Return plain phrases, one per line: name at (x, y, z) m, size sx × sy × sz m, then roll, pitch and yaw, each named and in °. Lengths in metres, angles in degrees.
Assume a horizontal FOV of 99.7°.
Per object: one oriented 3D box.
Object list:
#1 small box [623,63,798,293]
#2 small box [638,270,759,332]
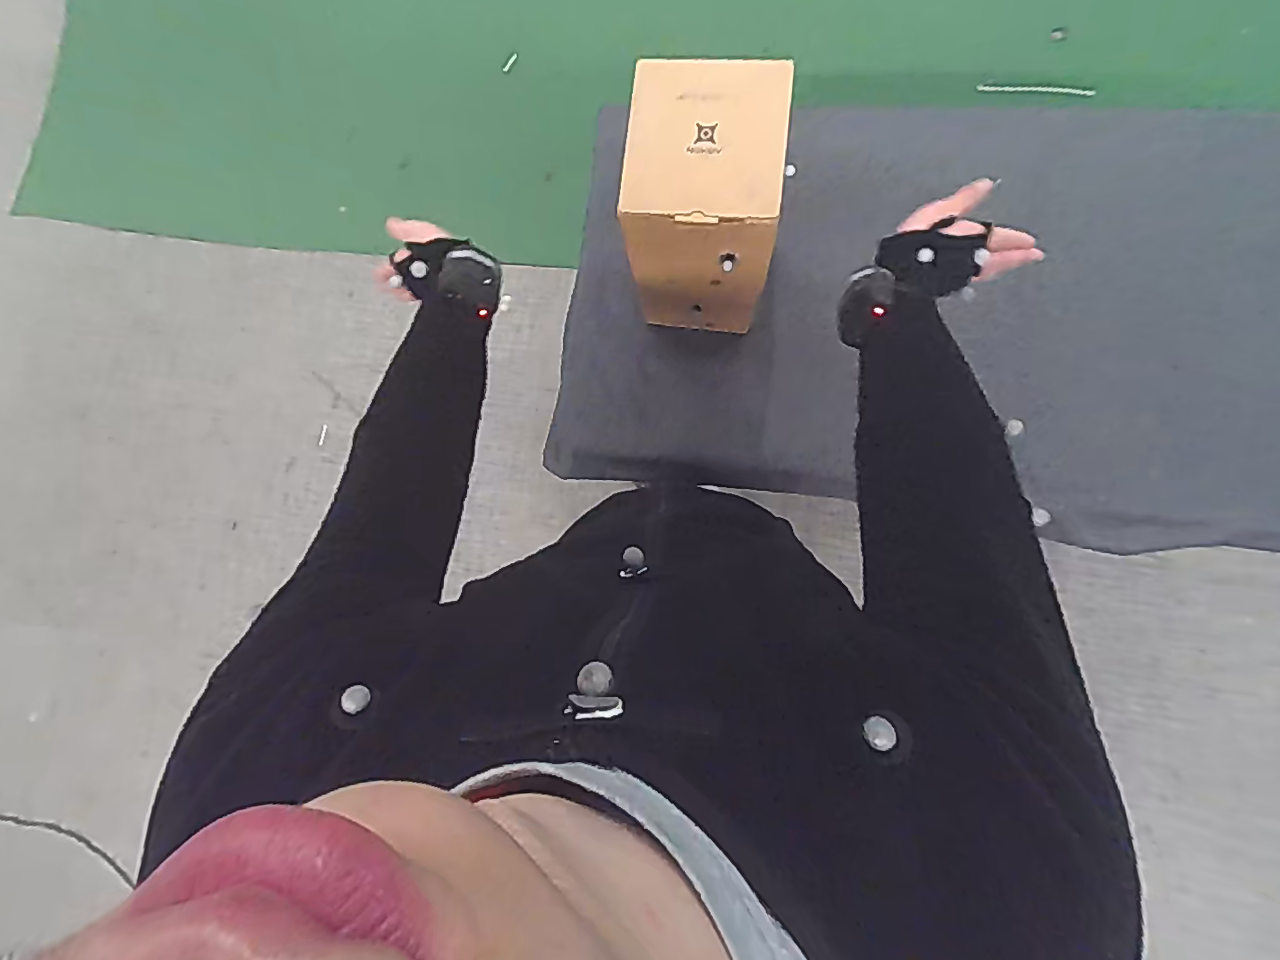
small box at (0.081, -0.338, 0.633) m, size 0.168 × 0.176 × 0.179 m, roll 6°, pitch 84°, yaw 6°
small box at (0.099, -0.333, 0.795) m, size 0.168 × 0.176 × 0.179 m, roll 8°, pitch 85°, yaw 7°
